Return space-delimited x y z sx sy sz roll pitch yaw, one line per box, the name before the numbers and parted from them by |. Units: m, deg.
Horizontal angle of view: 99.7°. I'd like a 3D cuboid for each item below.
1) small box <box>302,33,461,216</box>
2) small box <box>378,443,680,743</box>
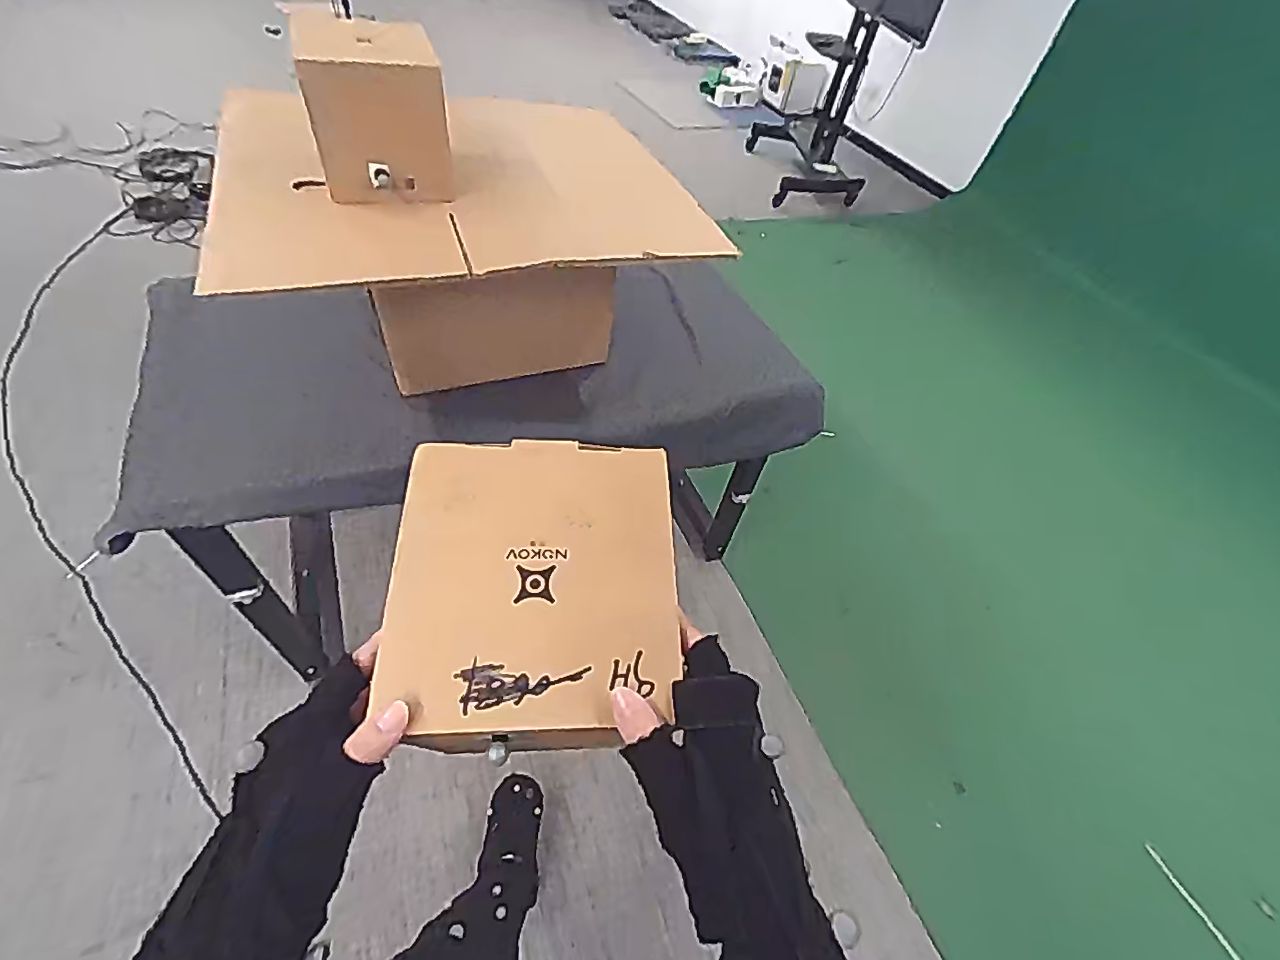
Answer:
small box | -0.358 -0.496 0.763 0.168 0.176 0.179 -13 55 -19
small box | -0.067 0.092 0.402 0.168 0.176 0.179 1 61 -5
